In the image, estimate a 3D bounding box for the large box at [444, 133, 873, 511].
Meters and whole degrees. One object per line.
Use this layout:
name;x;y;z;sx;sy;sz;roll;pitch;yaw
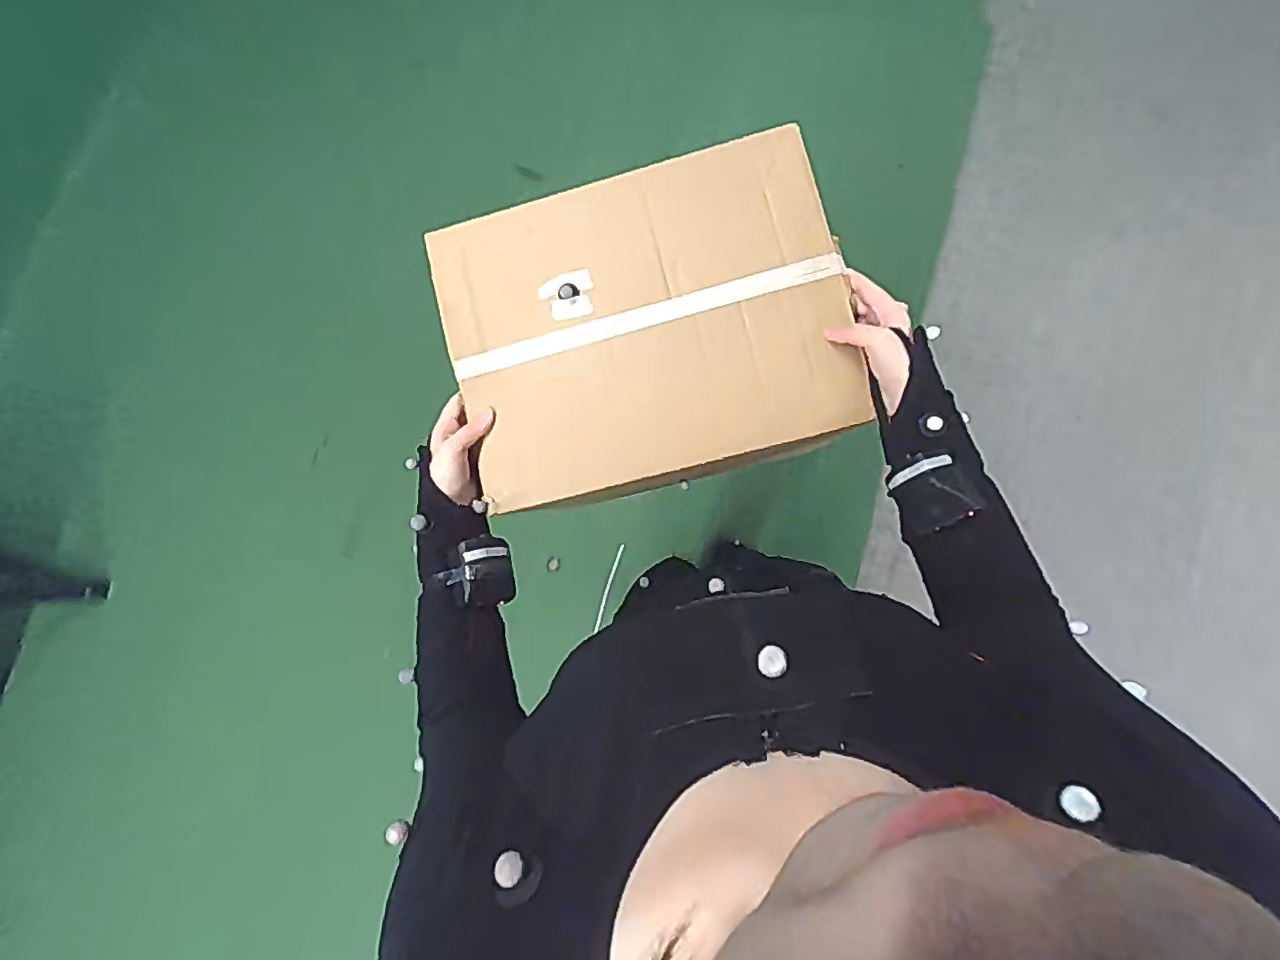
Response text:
large box;0.027;-0.158;0.713;0.408;0.320;0.320;-14;86;7
